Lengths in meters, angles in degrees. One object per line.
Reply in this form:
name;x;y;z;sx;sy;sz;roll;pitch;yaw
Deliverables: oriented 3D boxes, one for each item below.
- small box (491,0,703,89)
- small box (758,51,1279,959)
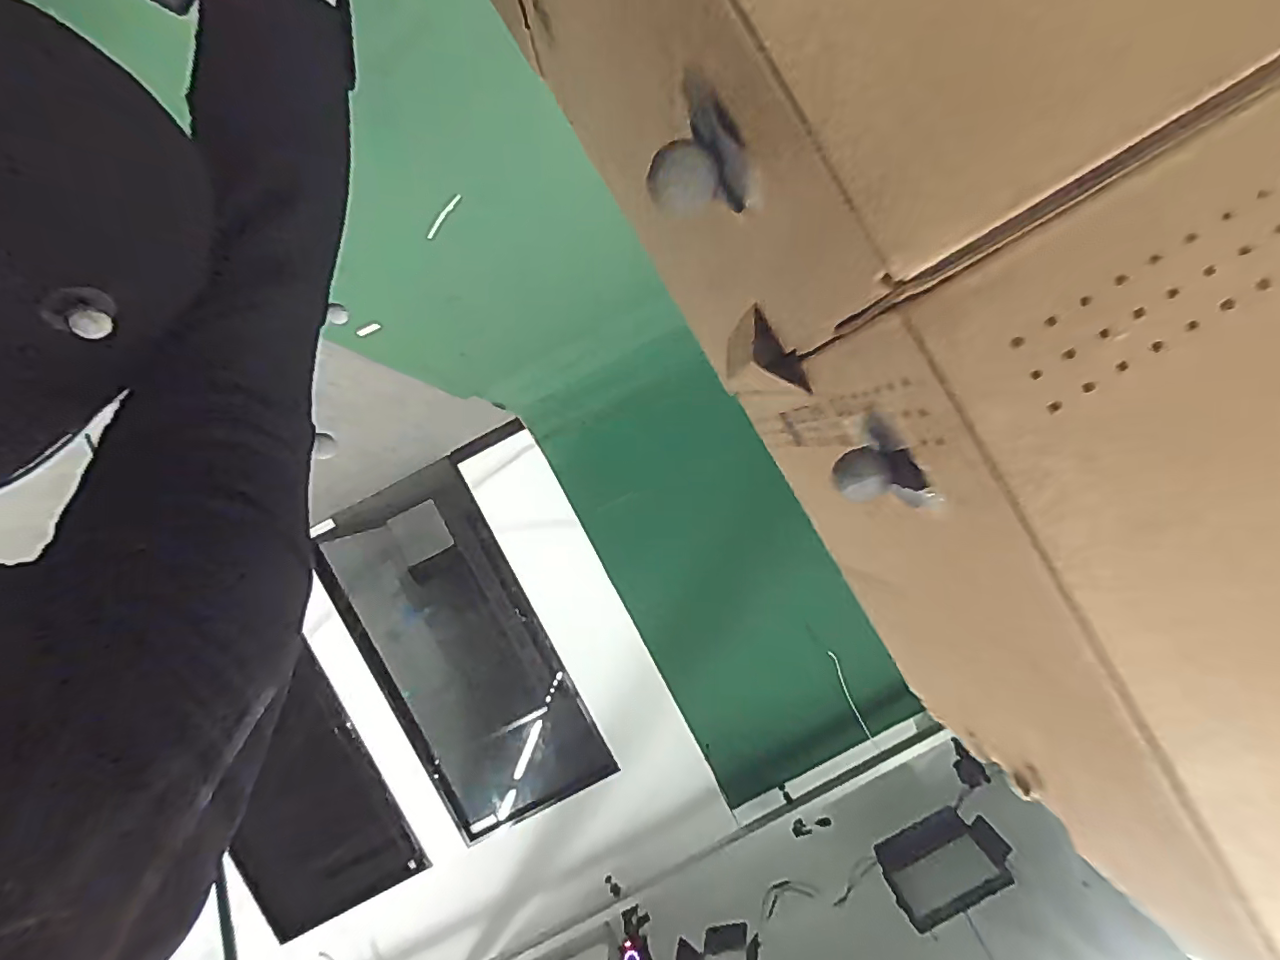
small box;-0.012;-0.288;0.164;0.179;0.176;0.168;-31;-177;2
small box;0.160;-0.009;0.178;0.179;0.176;0.168;-29;-177;6
